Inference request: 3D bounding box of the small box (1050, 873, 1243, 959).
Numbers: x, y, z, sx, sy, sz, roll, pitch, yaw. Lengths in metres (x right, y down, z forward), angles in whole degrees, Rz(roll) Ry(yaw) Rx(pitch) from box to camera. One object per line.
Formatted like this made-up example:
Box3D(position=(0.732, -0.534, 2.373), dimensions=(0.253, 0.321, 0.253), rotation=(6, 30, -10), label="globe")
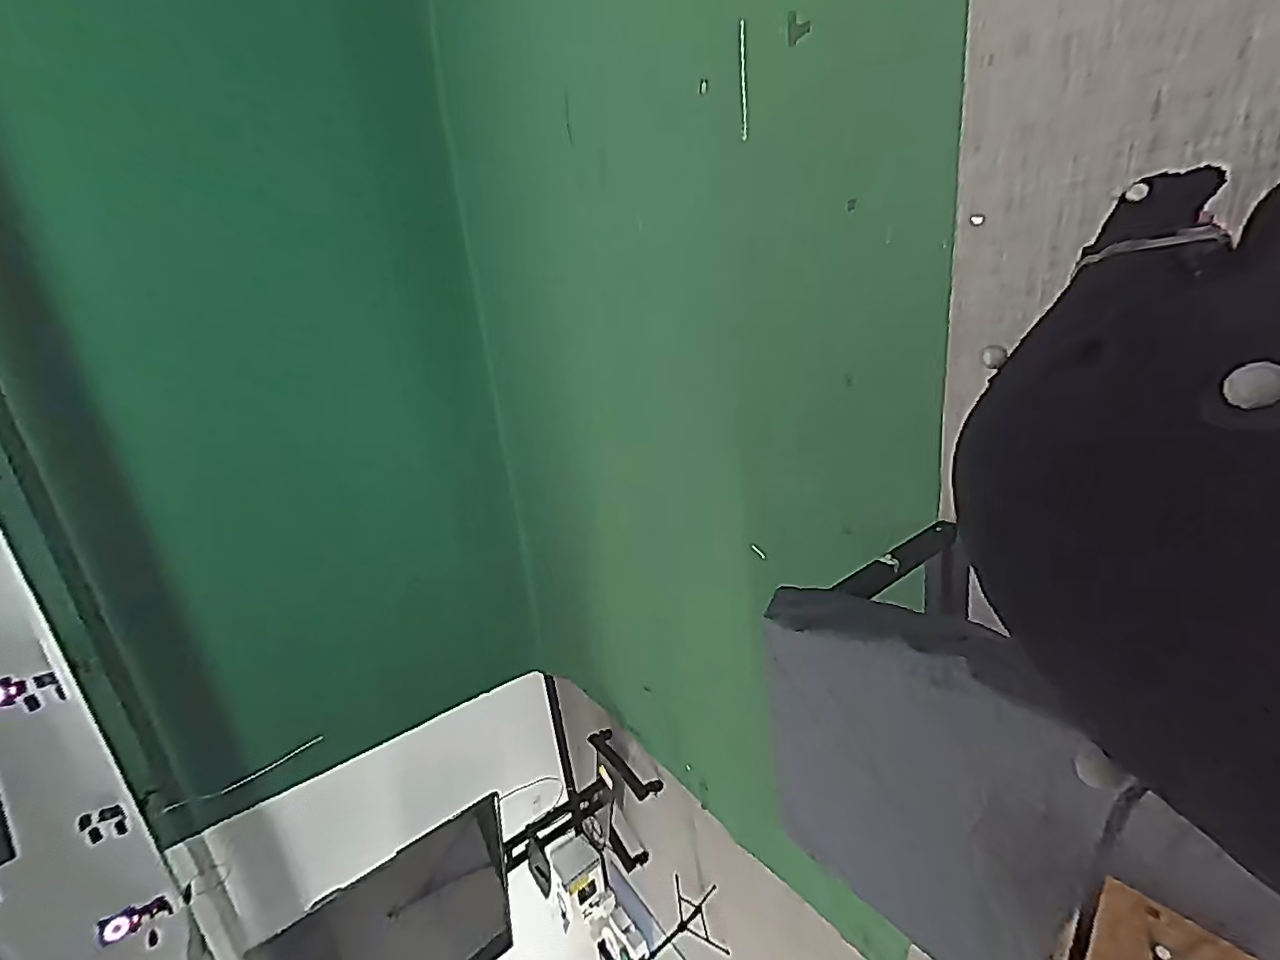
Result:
Box3D(position=(0.623, 0.646, 0.664), dimensions=(0.168, 0.176, 0.179), rotation=(14, 116, 53), label="small box")
